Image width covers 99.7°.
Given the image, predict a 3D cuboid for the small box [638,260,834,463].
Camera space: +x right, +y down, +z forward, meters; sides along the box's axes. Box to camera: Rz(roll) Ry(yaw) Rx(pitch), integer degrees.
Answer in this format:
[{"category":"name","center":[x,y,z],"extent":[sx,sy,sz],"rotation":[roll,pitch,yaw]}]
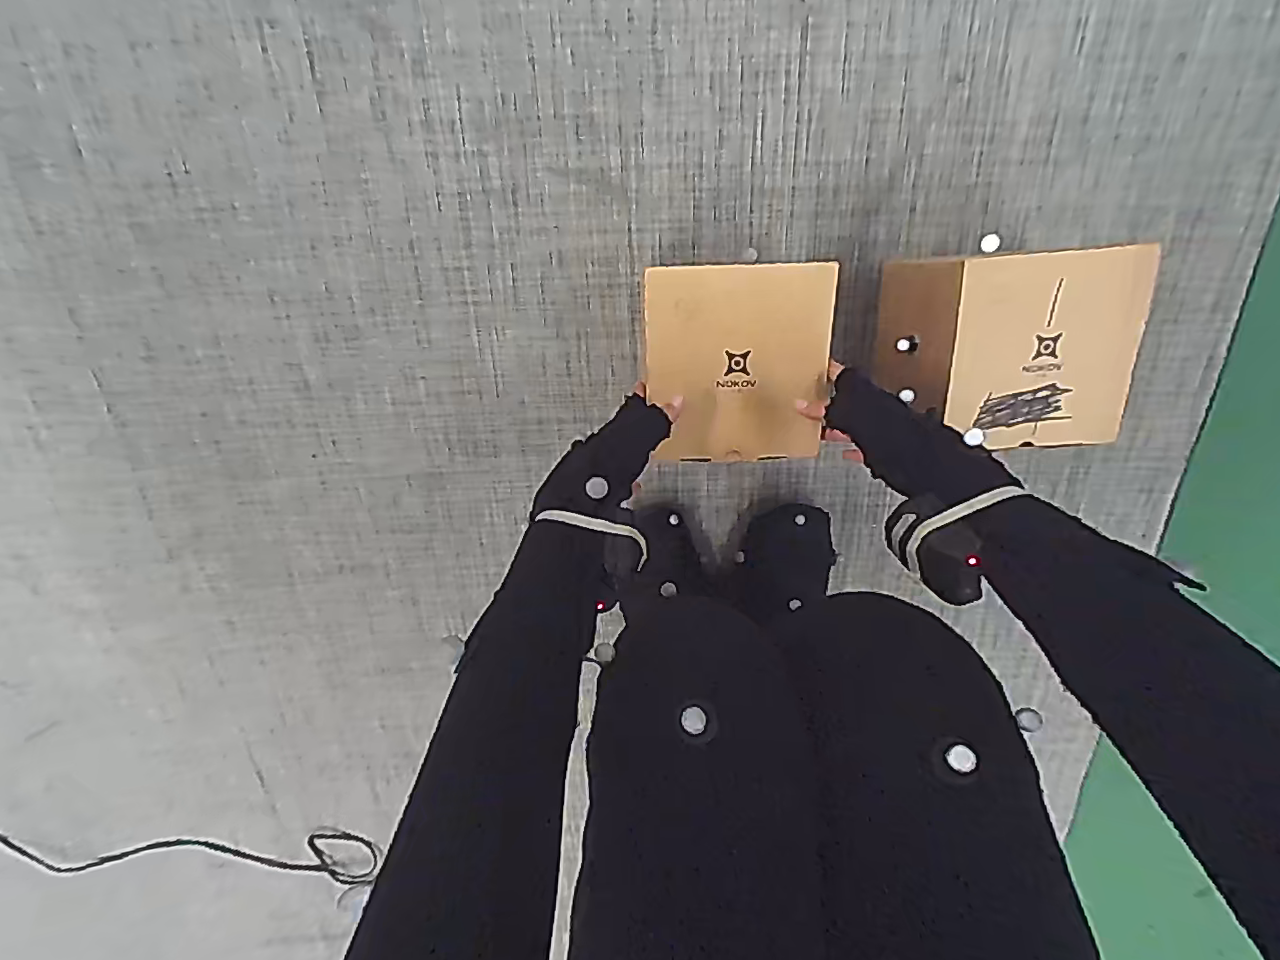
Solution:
[{"category":"small box","center":[0.083,-0.128,0.556],"extent":[0.168,0.176,0.179],"rotation":[-2,111,0]}]

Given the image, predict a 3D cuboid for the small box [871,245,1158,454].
[{"category":"small box","center":[0.352,-0.137,0.552],"extent":[0.168,0.176,0.179],"rotation":[-4,110,1]}]
